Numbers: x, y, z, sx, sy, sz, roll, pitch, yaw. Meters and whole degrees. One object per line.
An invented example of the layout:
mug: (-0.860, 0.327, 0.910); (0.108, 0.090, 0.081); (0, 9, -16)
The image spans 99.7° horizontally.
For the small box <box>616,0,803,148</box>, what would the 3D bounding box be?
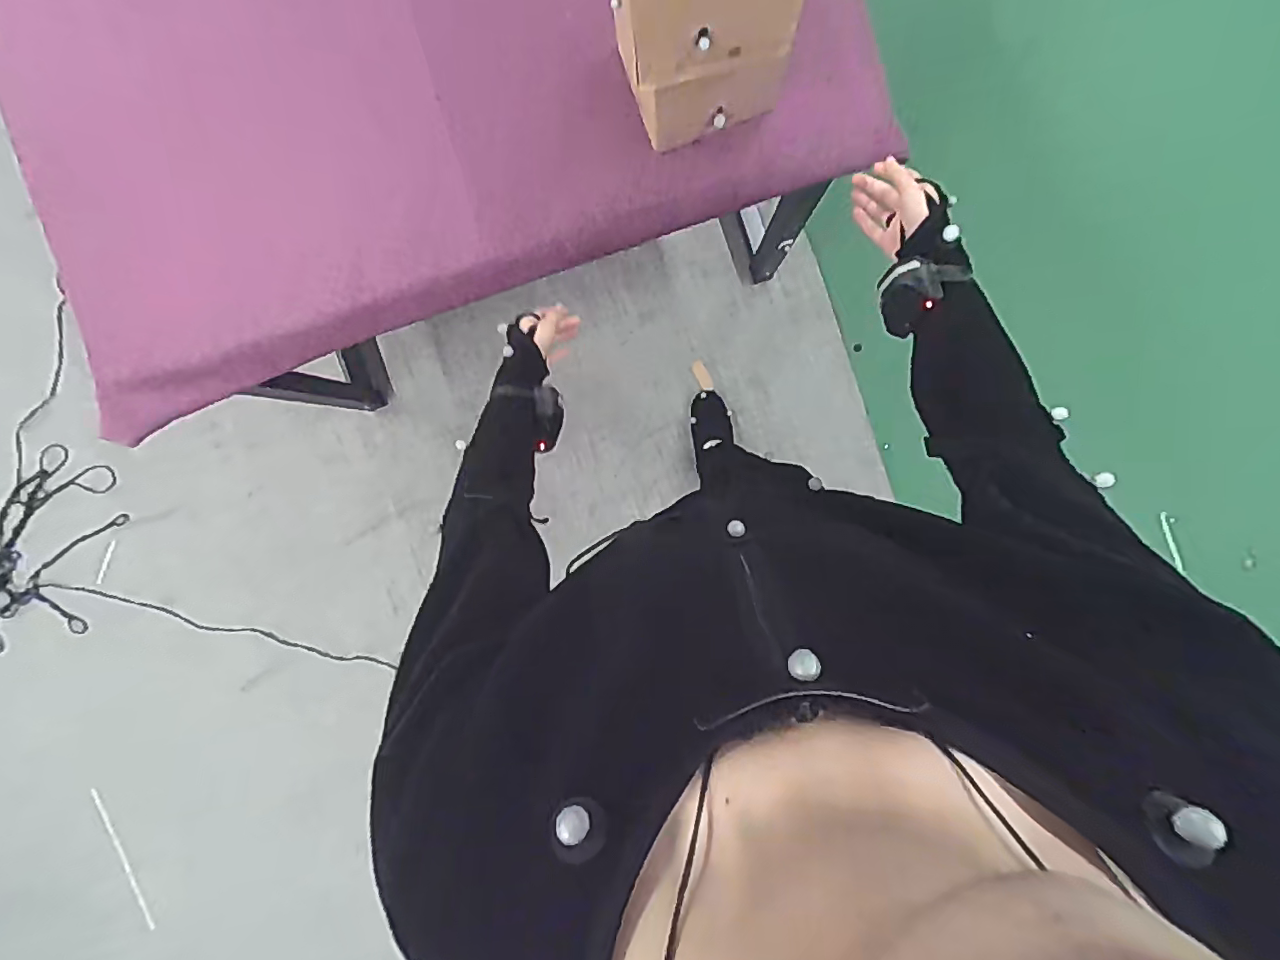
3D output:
small box: (0.072, -0.554, 0.660); (0.179, 0.176, 0.168); (-19, 89, 4)

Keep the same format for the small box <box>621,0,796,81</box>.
small box: (0.055, -0.525, 0.498); (0.168, 0.176, 0.179); (-11, 92, 4)
